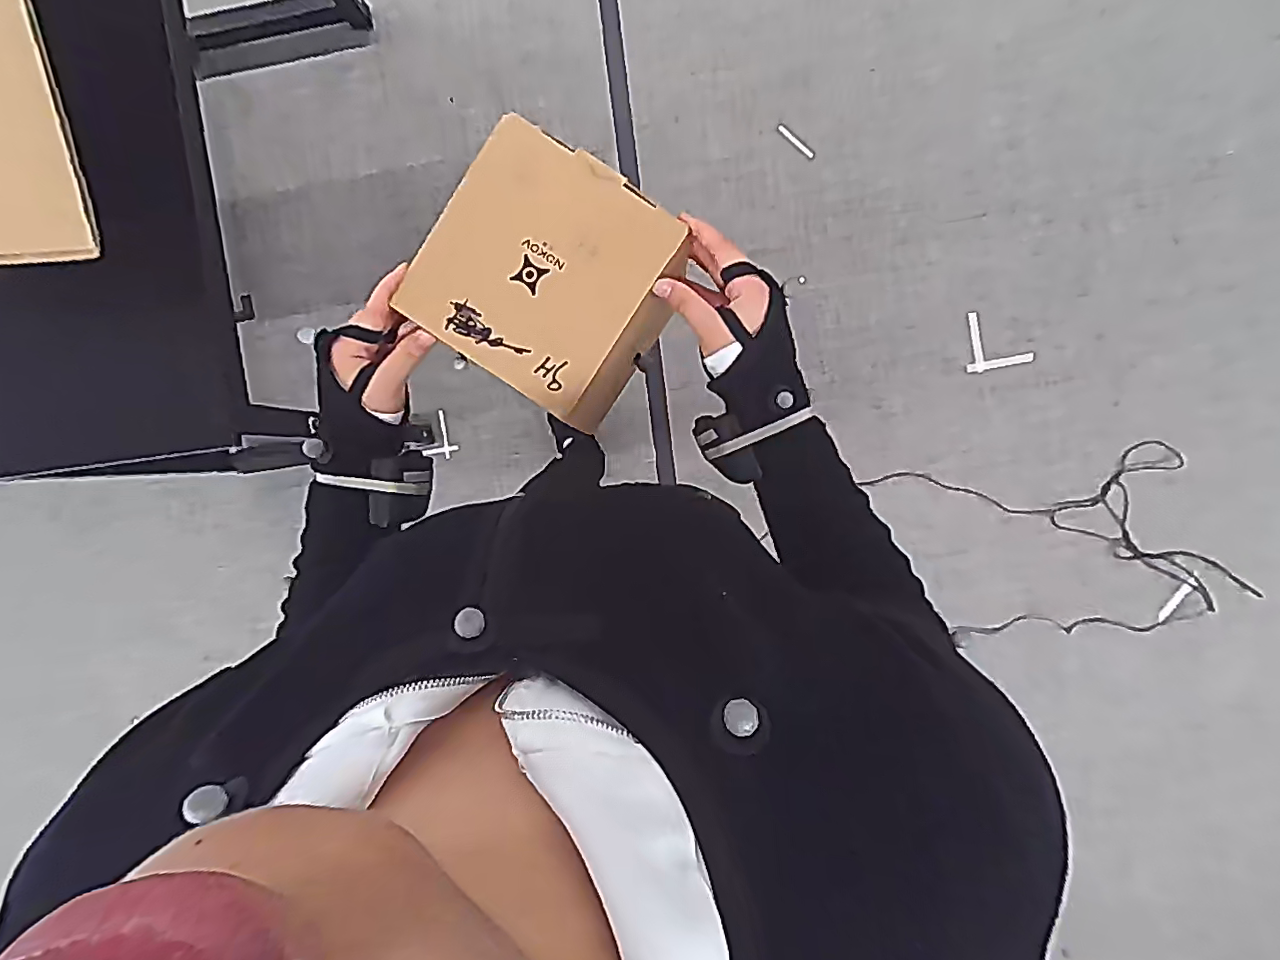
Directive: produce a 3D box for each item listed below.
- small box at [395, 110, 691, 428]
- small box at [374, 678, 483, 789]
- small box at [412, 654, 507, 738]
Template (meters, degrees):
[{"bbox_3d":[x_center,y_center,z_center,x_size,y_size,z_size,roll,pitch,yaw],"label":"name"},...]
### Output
[{"bbox_3d":[-0.072,-0.166,0.489,0.168,0.176,0.179,34,91,3],"label":"small box"},{"bbox_3d":[-0.493,0.597,1.296,0.179,0.176,0.168,-15,91,5],"label":"small box"},{"bbox_3d":[-0.480,0.587,1.457,0.179,0.176,0.168,-11,92,2],"label":"small box"}]
